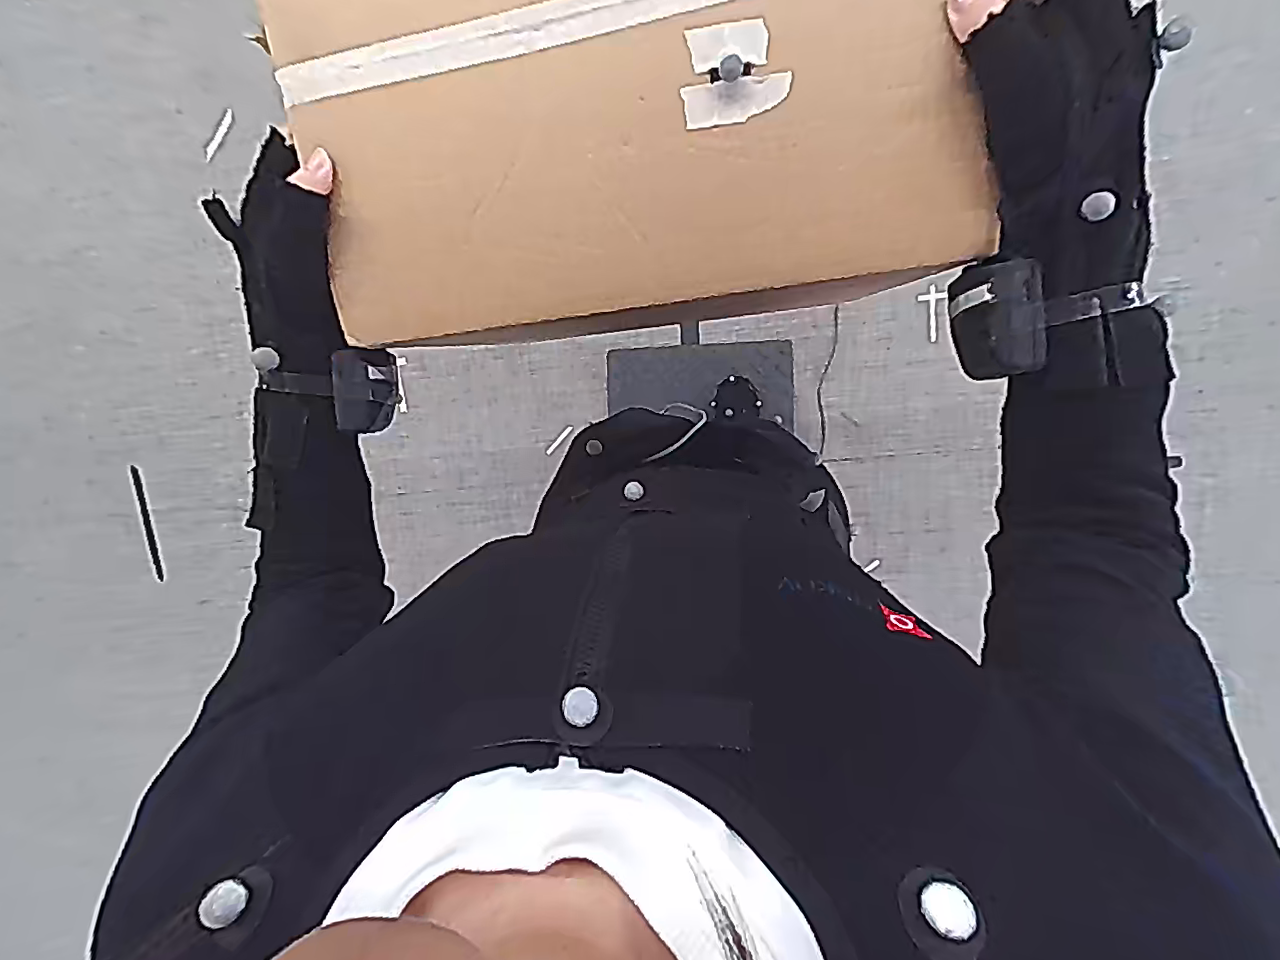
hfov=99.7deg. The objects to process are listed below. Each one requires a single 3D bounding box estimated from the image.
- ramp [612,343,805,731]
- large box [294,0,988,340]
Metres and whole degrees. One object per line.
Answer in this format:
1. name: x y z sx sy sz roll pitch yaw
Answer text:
1. ramp: 0.169 0.145 1.430 0.509 0.206 0.991 -3 98 11
2. large box: 0.005 -0.304 0.456 0.408 0.320 0.320 -6 104 9
